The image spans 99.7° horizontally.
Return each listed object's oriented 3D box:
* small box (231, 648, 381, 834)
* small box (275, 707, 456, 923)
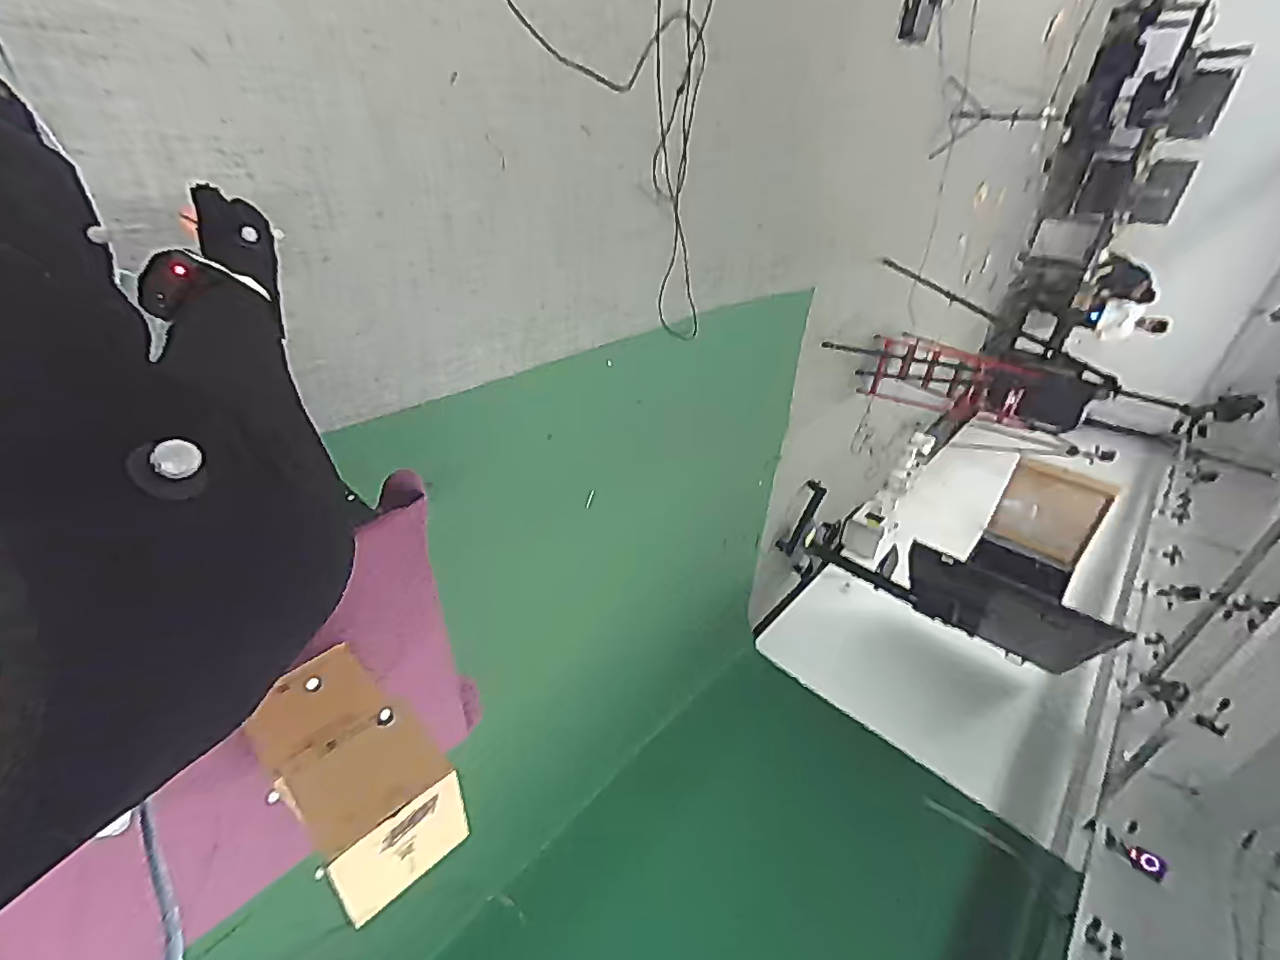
[{"bbox_3d":[-0.514,0.409,0.868,0.168,0.176,0.179,-30,135,-37],"label":"small box"},{"bbox_3d":[-0.388,0.459,0.773,0.168,0.176,0.179,-25,133,-40],"label":"small box"}]
